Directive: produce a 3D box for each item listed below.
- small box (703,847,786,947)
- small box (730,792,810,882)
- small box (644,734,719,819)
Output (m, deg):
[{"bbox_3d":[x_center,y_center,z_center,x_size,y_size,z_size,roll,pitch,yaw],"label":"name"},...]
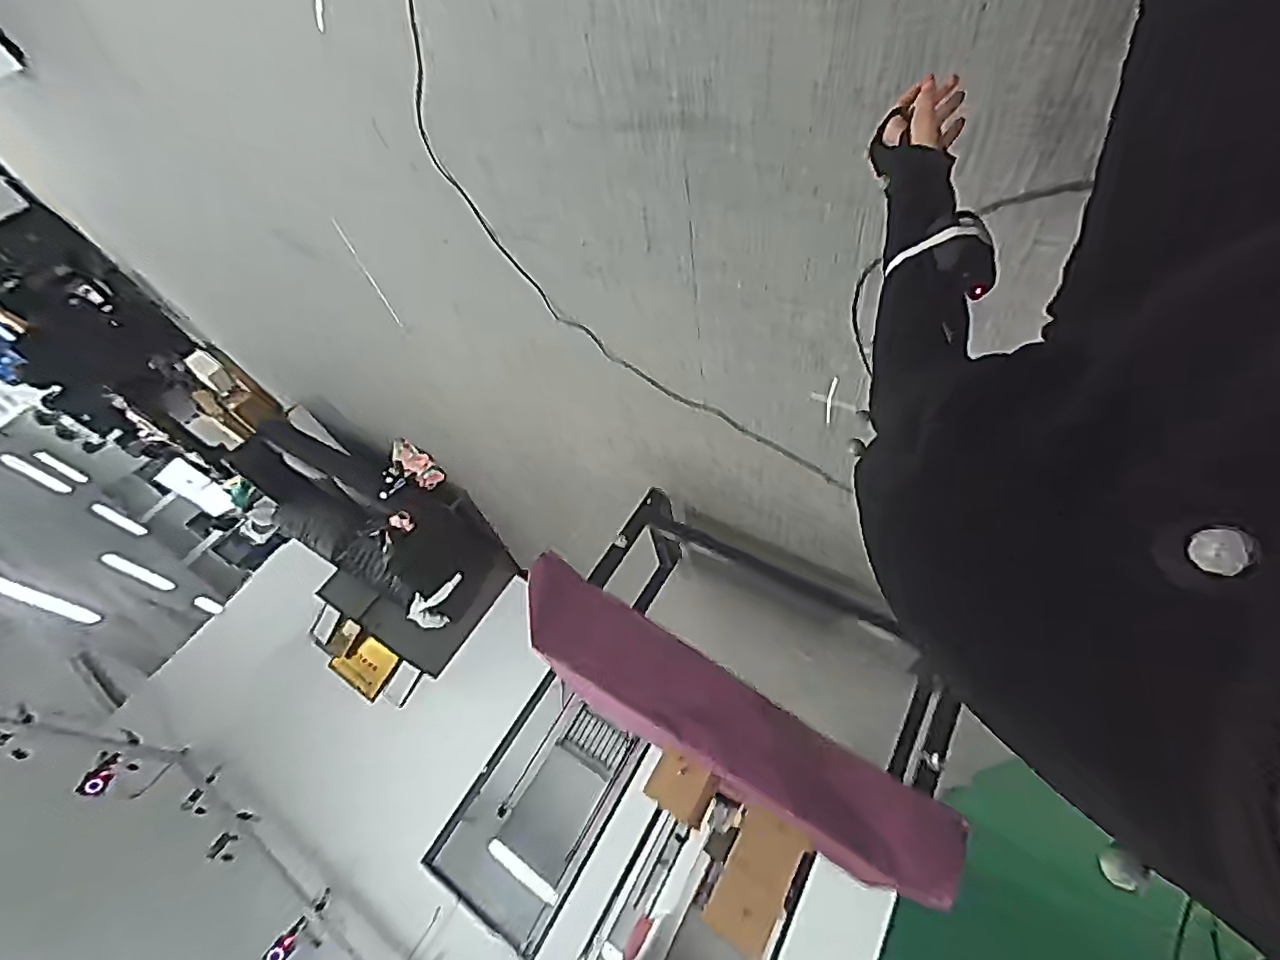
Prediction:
[{"bbox_3d":[0.302,1.187,1.556,0.179,0.176,0.168,22,152,26],"label":"small box"},{"bbox_3d":[0.389,1.066,1.624,0.179,0.176,0.168,23,153,27],"label":"small box"},{"bbox_3d":[0.142,0.963,1.757,0.168,0.176,0.179,19,150,31],"label":"small box"}]
